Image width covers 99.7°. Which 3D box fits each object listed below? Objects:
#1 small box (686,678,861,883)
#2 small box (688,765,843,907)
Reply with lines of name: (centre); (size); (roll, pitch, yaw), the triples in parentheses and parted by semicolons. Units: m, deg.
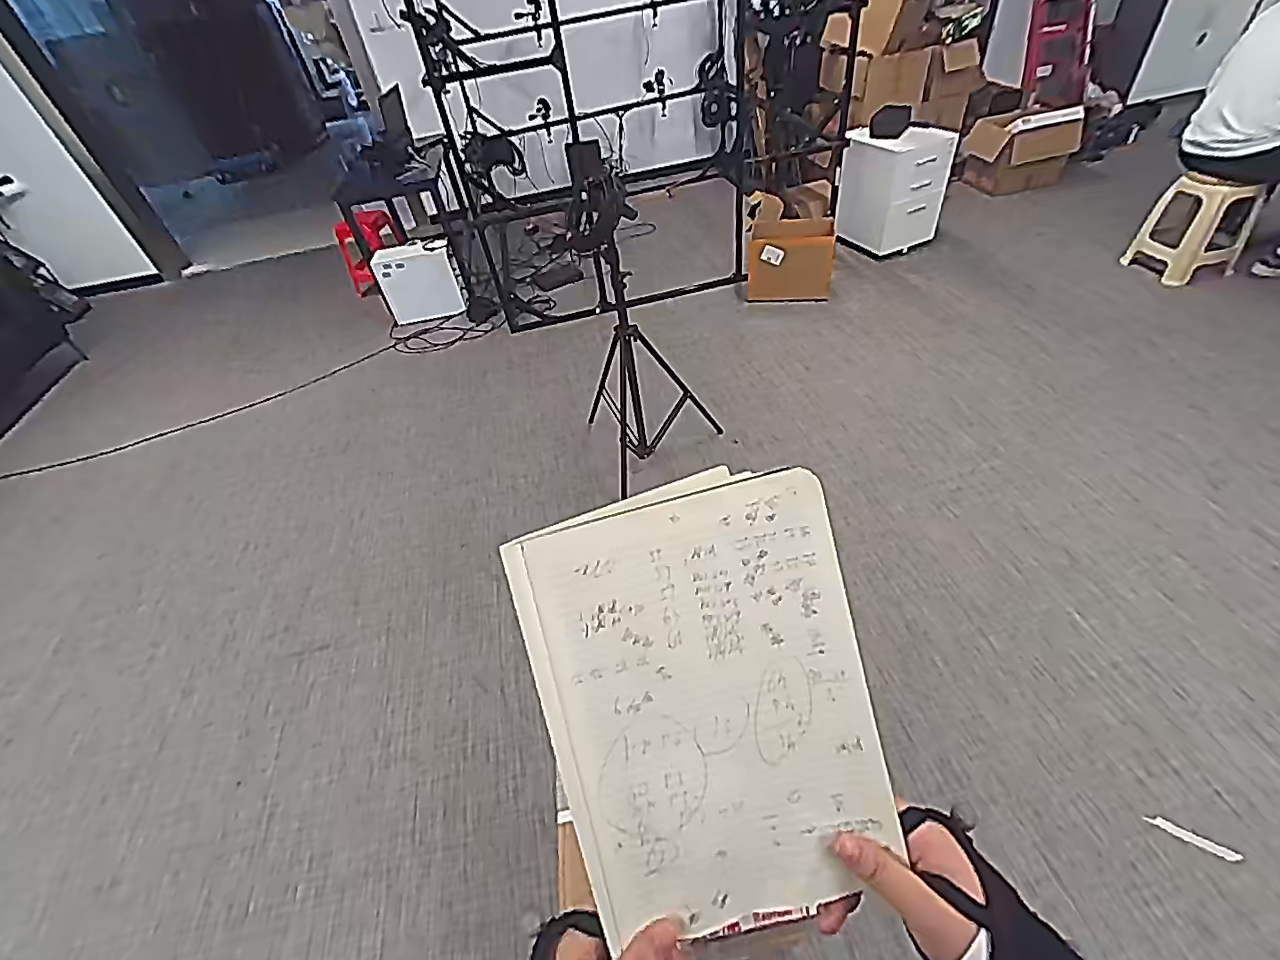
small box: (0.160, 0.398, 0.718); (0.168, 0.176, 0.179); (-12, 44, -5)
small box: (0.179, 0.519, 0.826); (0.179, 0.176, 0.168); (-14, 45, -6)
